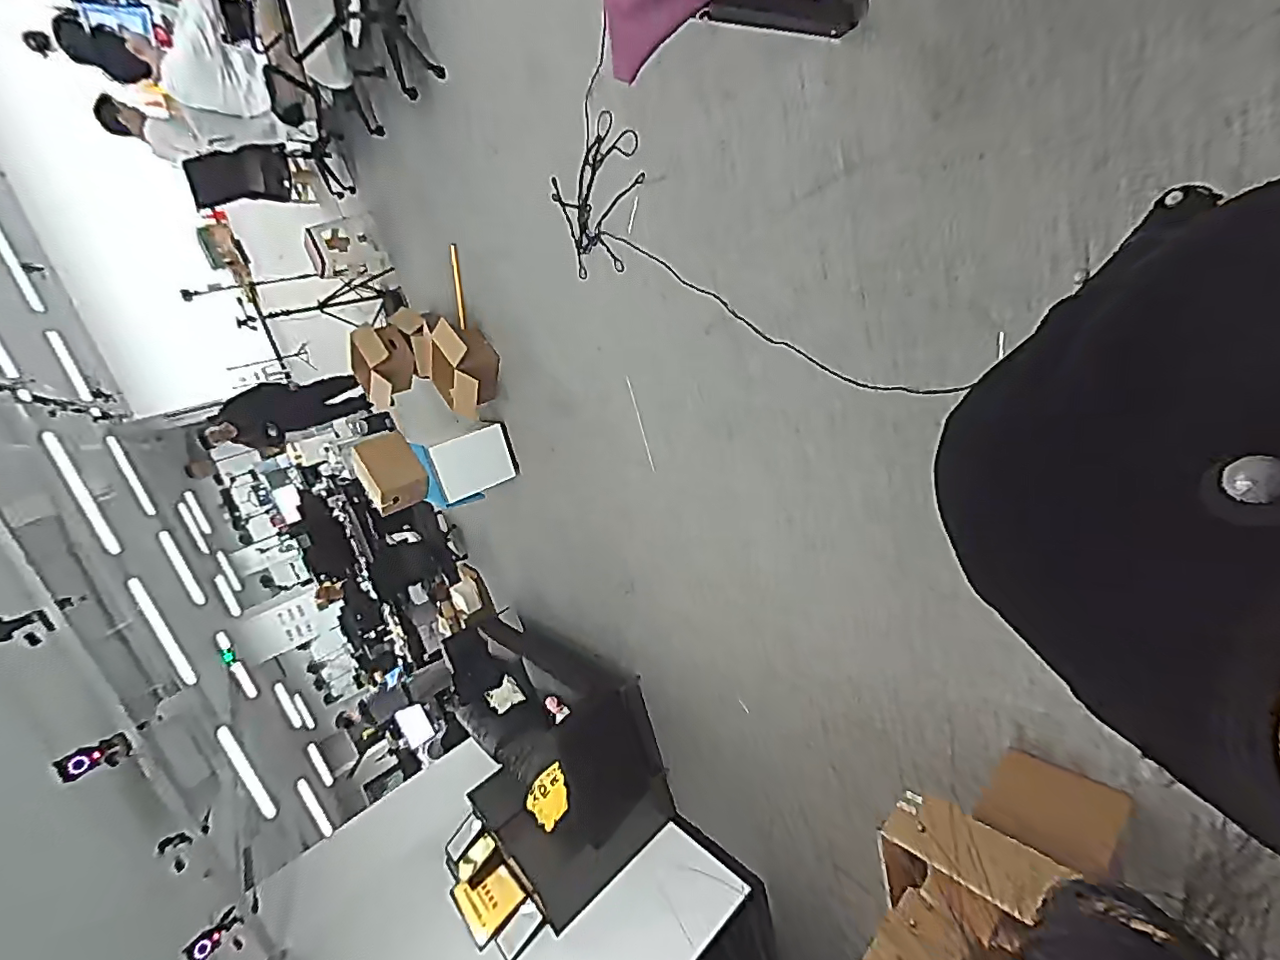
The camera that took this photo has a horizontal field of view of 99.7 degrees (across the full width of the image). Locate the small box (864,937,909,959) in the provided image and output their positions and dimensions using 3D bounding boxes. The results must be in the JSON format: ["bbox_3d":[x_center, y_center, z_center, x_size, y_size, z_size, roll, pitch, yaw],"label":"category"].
[{"bbox_3d":[0.612,1.271,1.303,0.168,0.176,0.179,20,127,48],"label":"small box"}]

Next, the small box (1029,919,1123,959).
[{"bbox_3d":[1.036,1.209,1.271,0.168,0.176,0.179,3,113,53],"label":"small box"}]

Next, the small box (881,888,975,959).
[{"bbox_3d":[0.739,1.216,1.390,0.168,0.176,0.179,16,124,49],"label":"small box"}]
